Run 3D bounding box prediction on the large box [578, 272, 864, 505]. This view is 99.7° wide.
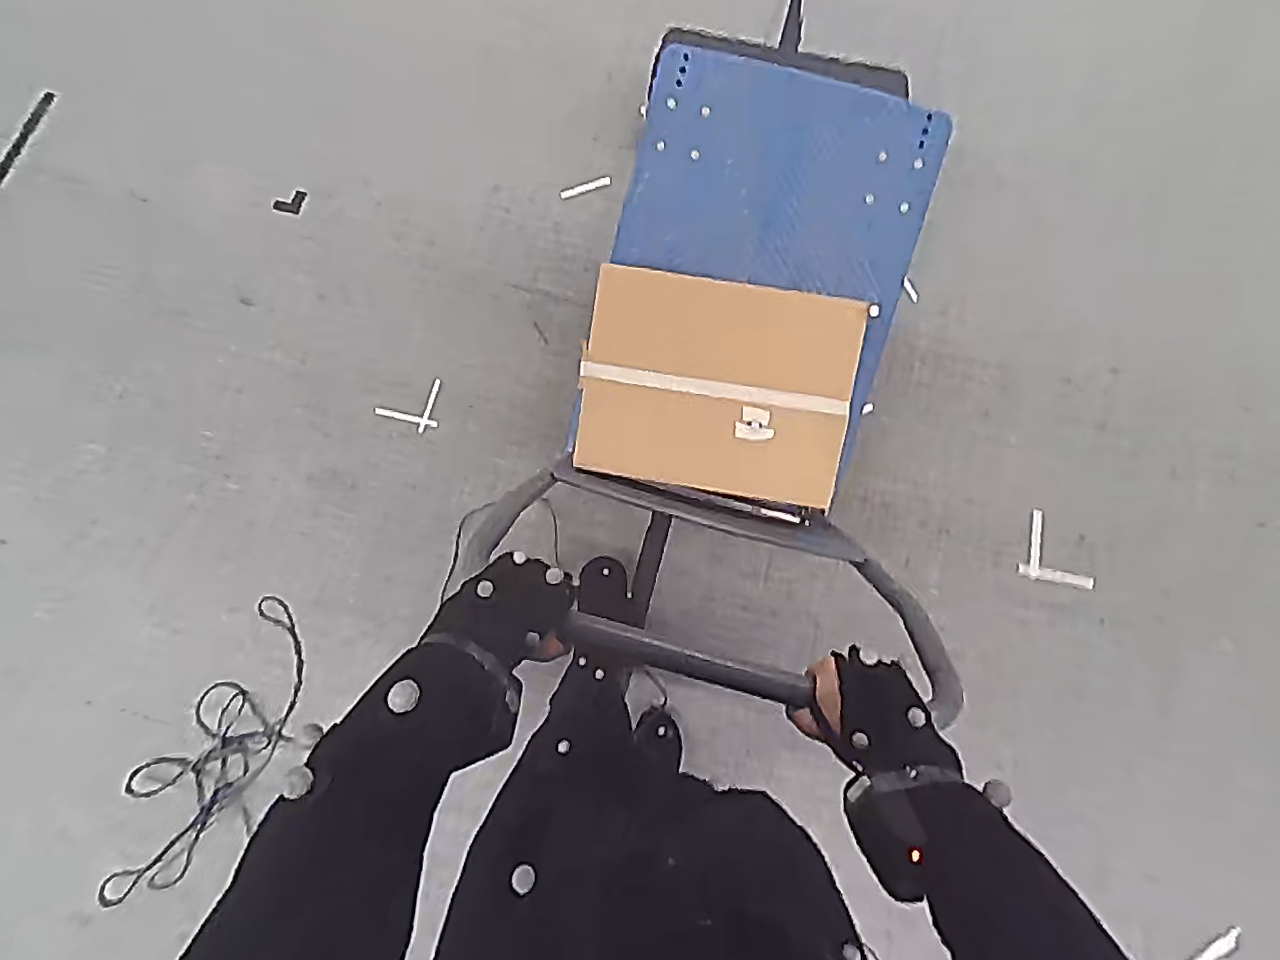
[{"bbox_3d":[0.121,-0.154,0.971,0.408,0.320,0.320,9,98,1],"label":"large box"}]
